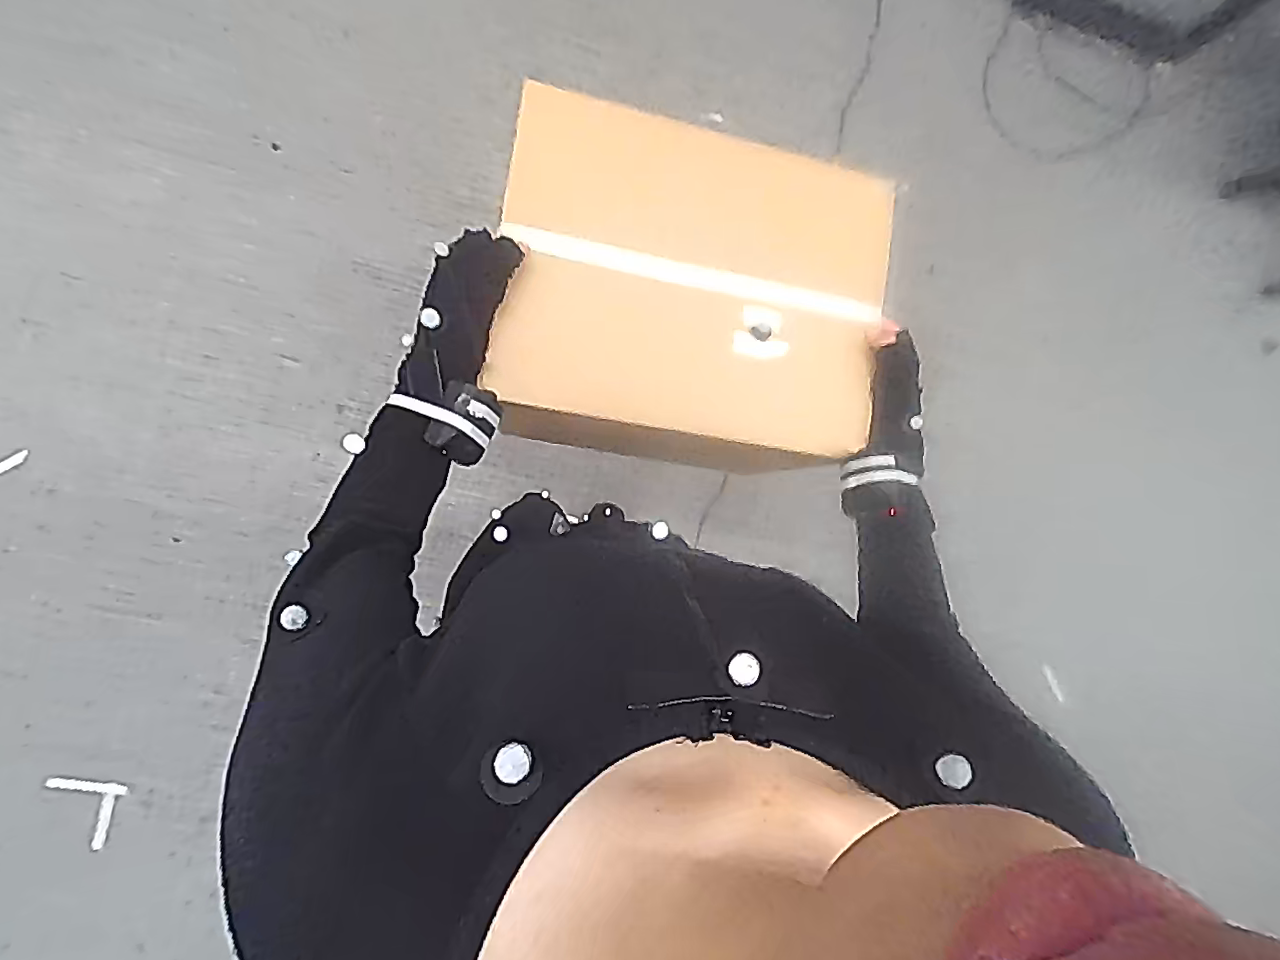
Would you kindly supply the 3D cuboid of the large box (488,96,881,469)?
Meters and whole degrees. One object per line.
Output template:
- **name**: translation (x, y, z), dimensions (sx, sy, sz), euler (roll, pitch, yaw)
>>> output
- **large box**: translation (0.034, -0.202, 0.707), dimensions (0.408, 0.320, 0.320), euler (8, 86, -11)
